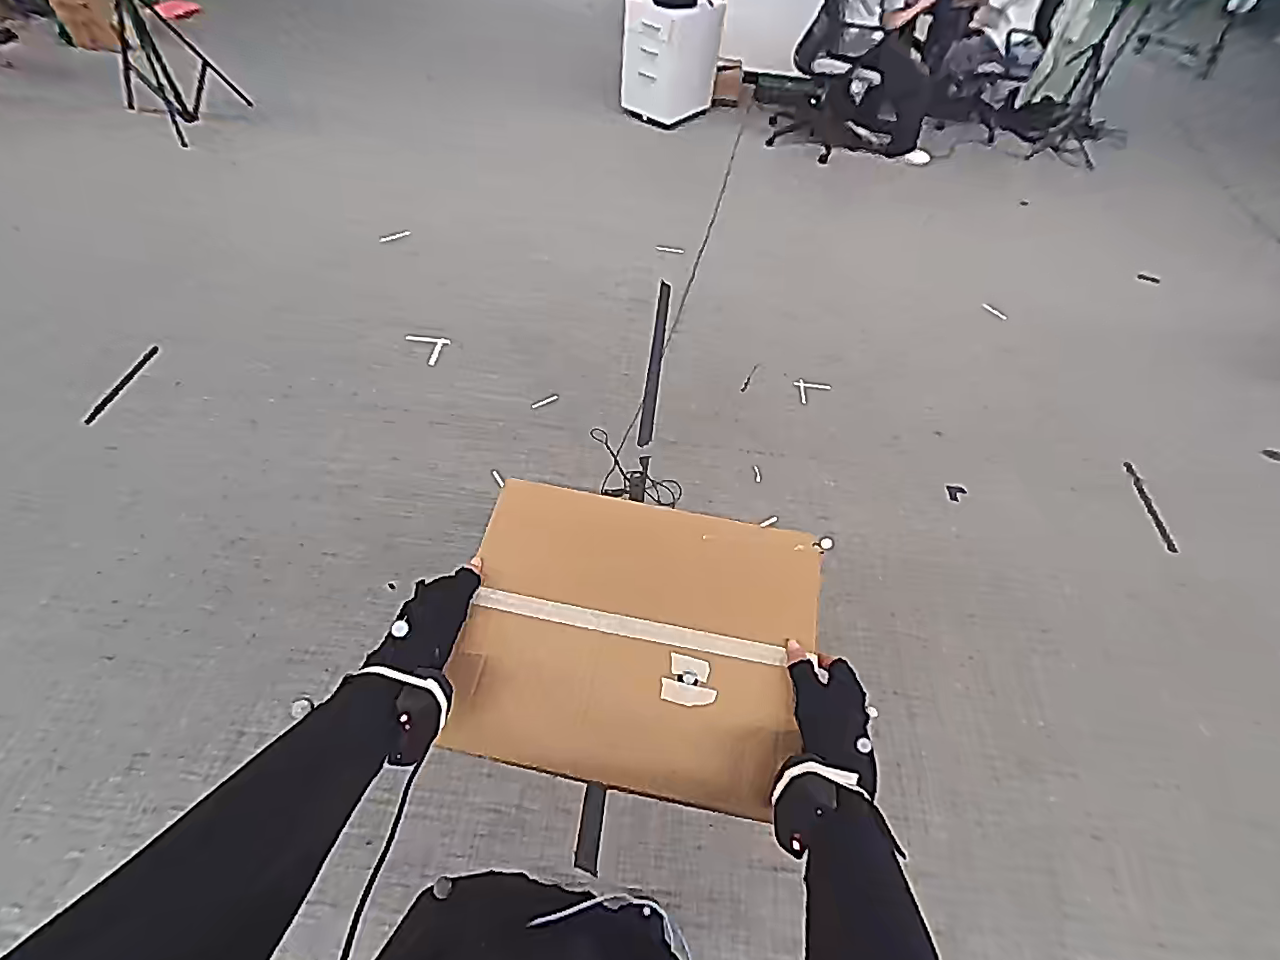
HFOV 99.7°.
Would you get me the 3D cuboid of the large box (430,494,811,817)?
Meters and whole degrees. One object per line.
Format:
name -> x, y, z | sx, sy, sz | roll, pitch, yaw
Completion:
large box -> -0.010, 0.252, 0.757 | 0.408, 0.320, 0.320 | 10, 61, 3
